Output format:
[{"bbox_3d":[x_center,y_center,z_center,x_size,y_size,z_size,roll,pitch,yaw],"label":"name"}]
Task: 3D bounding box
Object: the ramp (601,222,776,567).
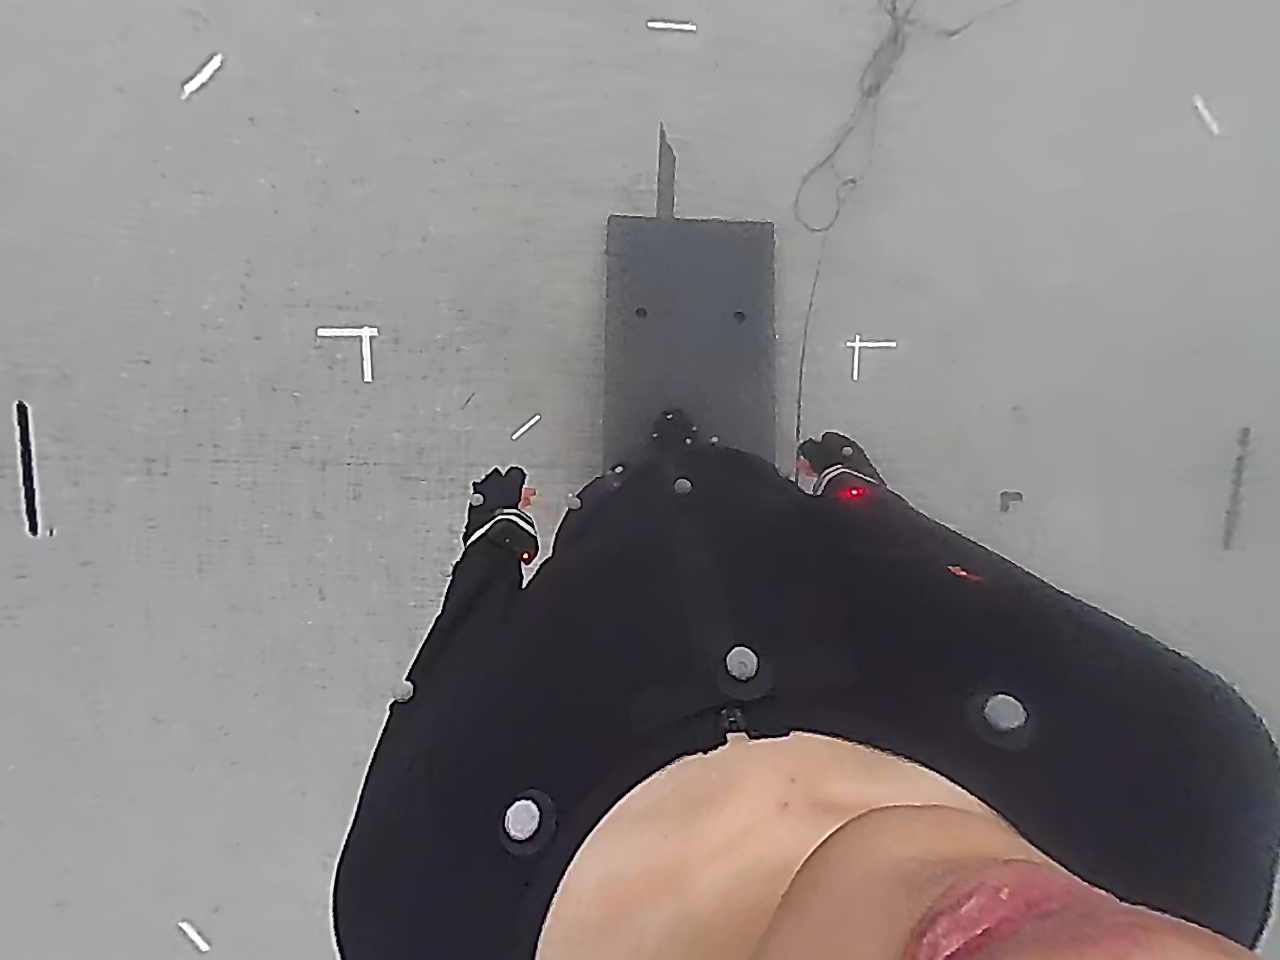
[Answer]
[{"bbox_3d":[0.138,-0.257,1.542,0.509,0.206,0.991,-1,95,-1],"label":"ramp"}]
